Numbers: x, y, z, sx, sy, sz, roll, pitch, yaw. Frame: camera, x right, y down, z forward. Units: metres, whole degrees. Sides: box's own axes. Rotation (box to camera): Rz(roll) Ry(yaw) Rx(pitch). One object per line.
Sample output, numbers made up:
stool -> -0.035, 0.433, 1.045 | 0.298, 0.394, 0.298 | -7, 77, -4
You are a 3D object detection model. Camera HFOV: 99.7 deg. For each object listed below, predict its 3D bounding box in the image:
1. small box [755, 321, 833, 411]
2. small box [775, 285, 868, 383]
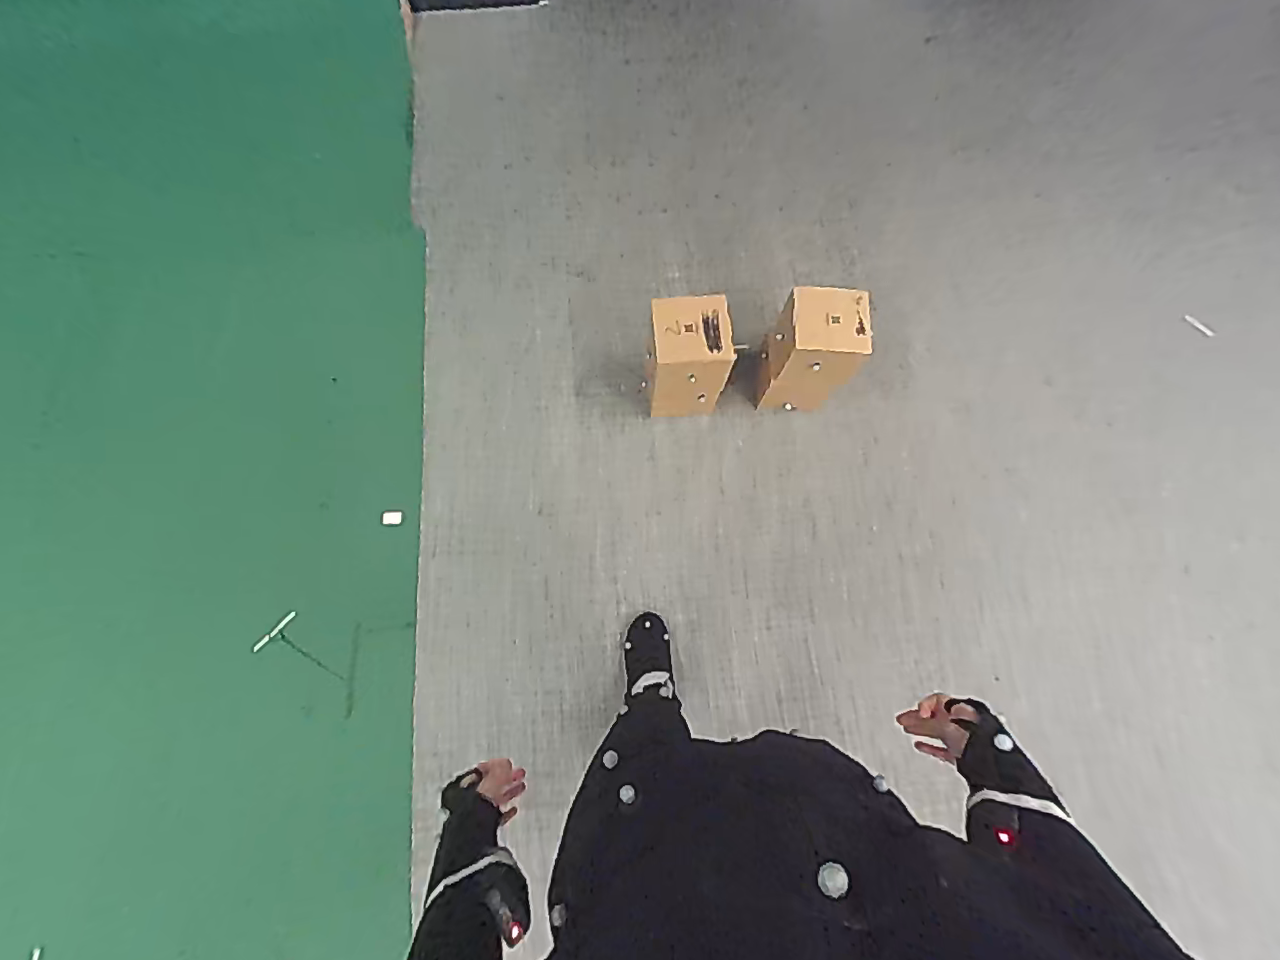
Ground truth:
small box -> 0.411, -0.305, 1.466 | 0.168, 0.176, 0.179 | 4, 75, 1
small box -> 0.429, -0.346, 1.306 | 0.179, 0.176, 0.168 | 4, 74, 1
